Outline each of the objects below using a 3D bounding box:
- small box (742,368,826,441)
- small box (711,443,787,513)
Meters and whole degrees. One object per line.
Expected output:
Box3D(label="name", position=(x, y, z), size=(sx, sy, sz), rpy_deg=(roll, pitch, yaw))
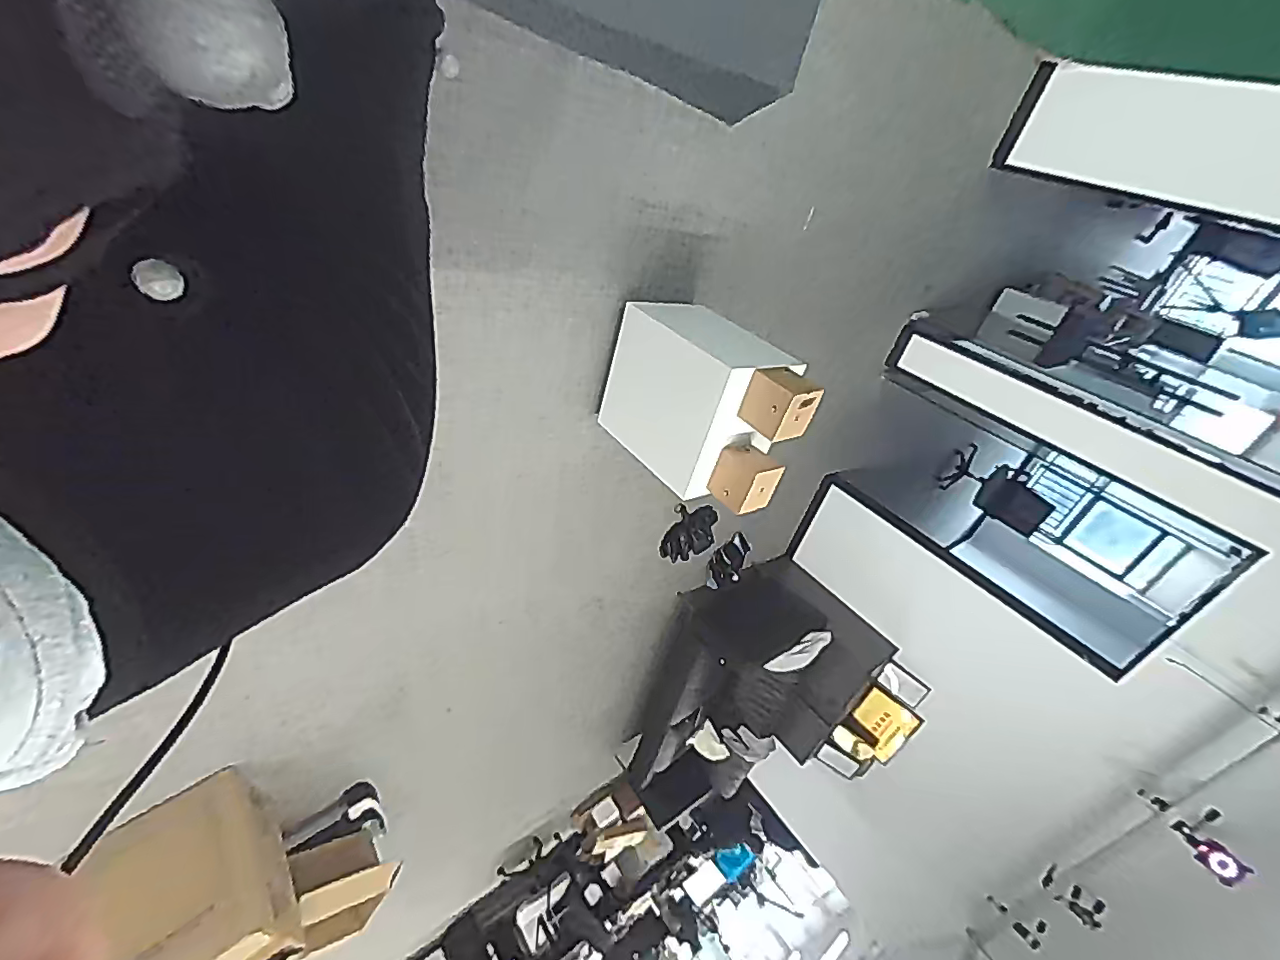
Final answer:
Box3D(label="small box", position=(0.456, -0.252, 1.742), size=(0.168, 0.176, 0.179), rpy_deg=(-14, 136, -37))
Box3D(label="small box", position=(0.375, -0.011, 1.899), size=(0.168, 0.176, 0.179), rpy_deg=(-11, 131, -40))
